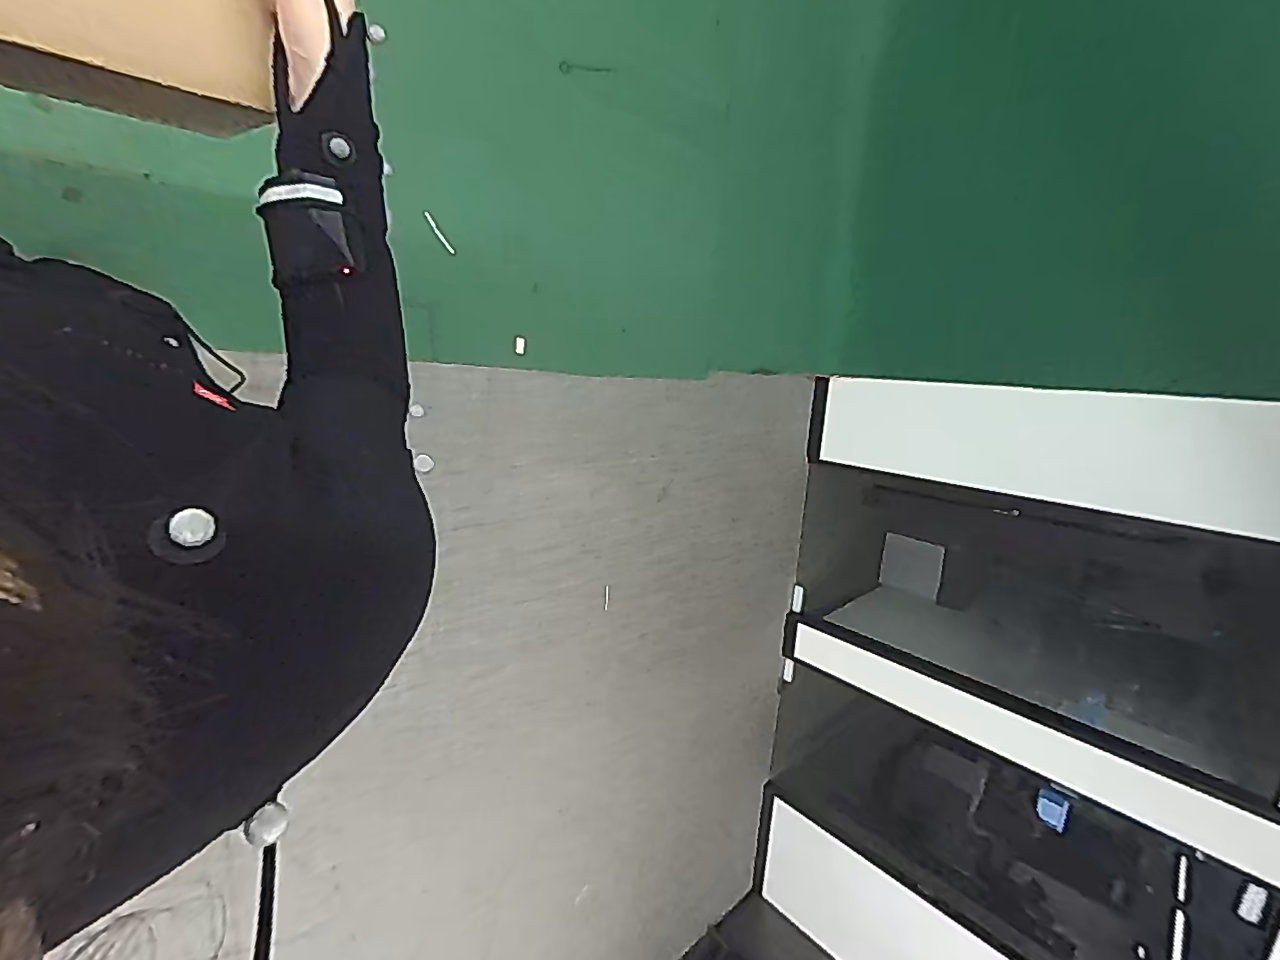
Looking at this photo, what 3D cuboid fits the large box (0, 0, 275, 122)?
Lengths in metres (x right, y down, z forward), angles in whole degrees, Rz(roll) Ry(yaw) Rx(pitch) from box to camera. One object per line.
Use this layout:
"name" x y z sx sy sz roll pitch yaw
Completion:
"large box" -0.490 -0.445 0.318 0.408 0.320 0.320 -9 118 -40
